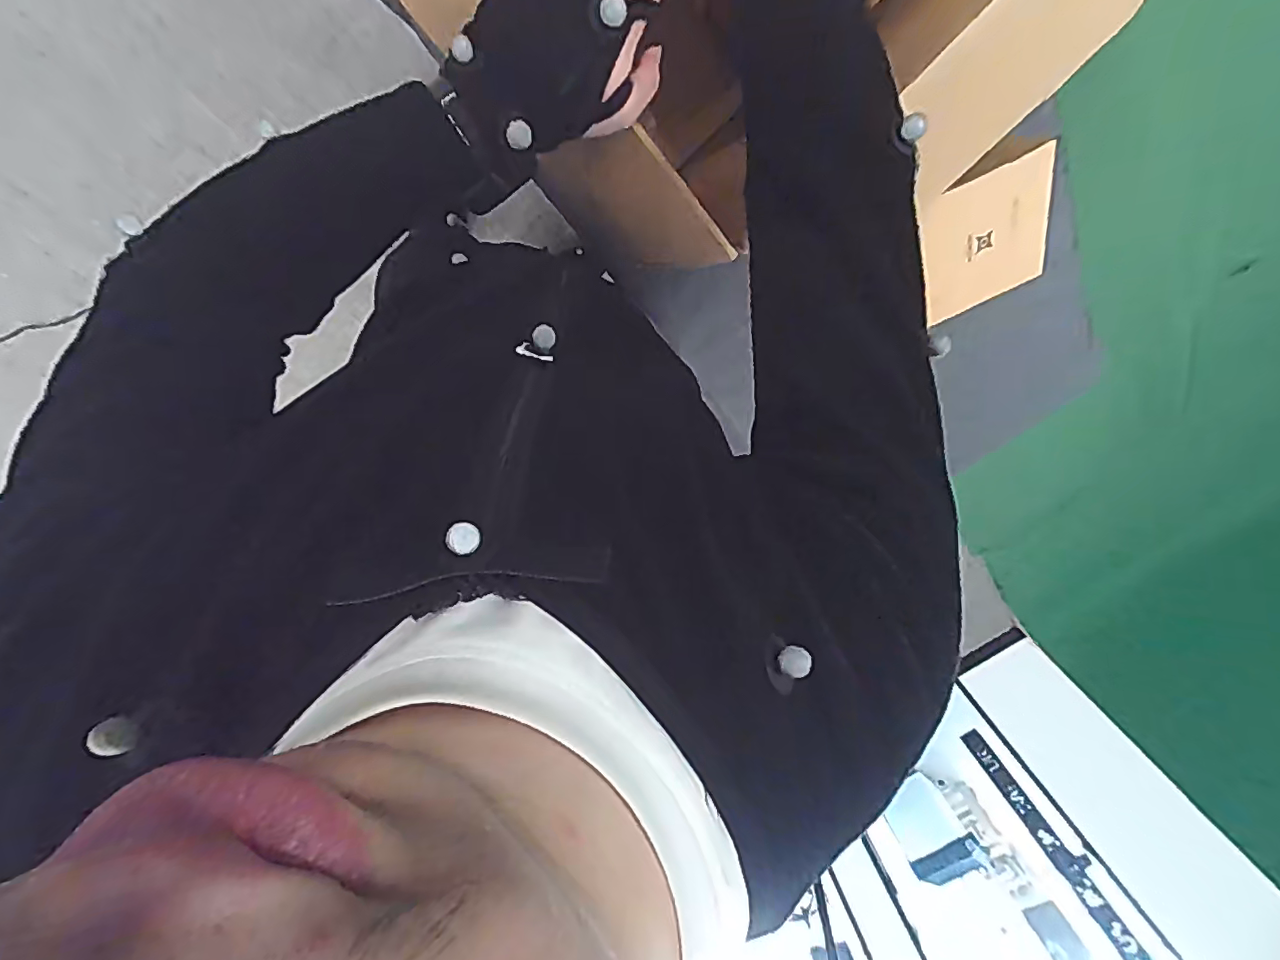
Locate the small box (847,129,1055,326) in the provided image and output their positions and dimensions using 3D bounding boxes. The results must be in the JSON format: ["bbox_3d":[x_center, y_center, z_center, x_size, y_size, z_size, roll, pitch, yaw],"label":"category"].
[{"bbox_3d":[0.396,-0.339,0.721,0.179,0.176,0.168,-26,130,3],"label":"small box"}]
